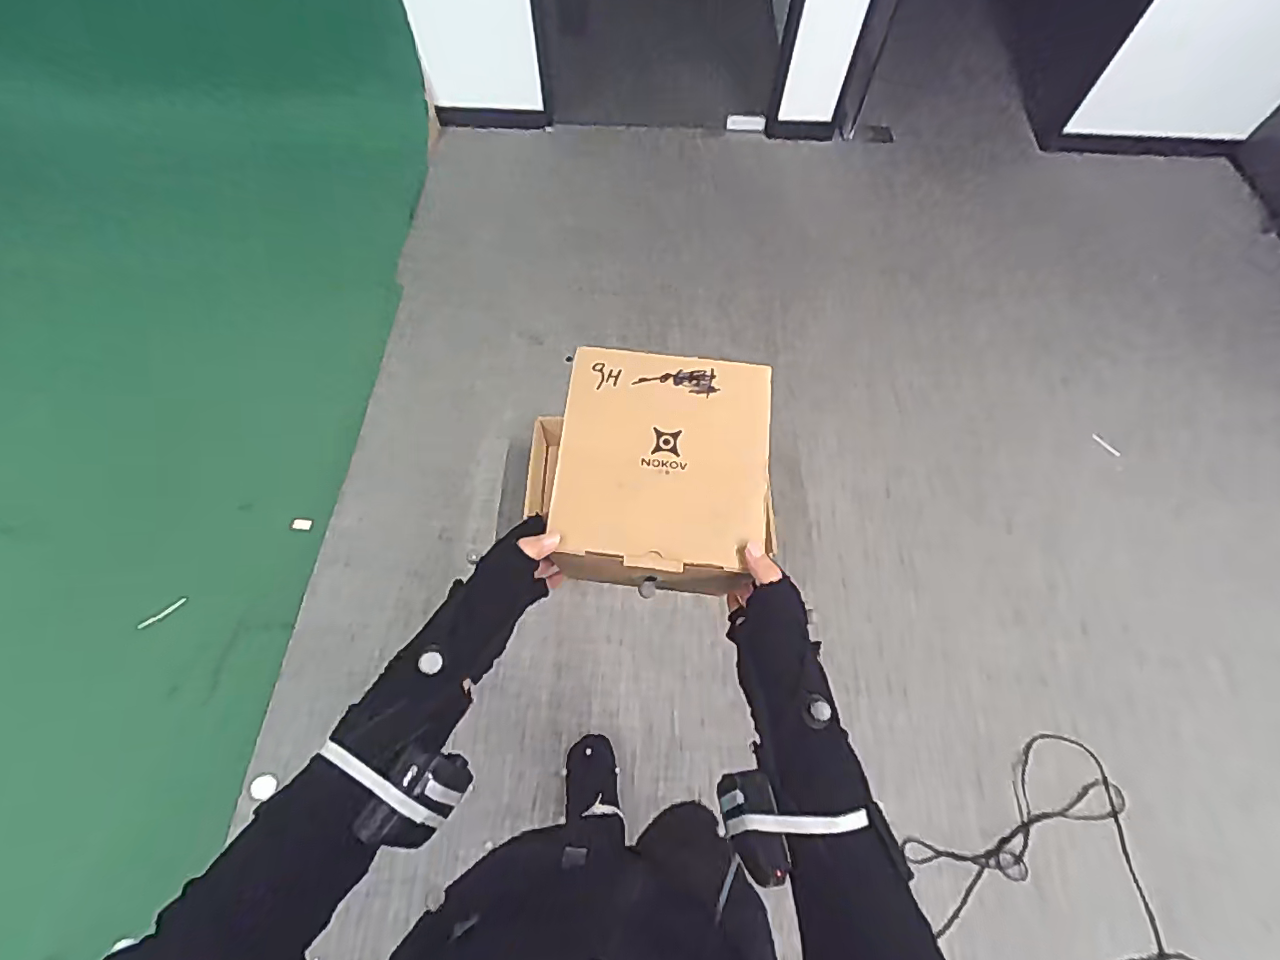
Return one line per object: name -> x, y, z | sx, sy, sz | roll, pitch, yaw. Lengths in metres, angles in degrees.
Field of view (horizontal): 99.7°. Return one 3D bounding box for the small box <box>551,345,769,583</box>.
small box -> 0.020, -0.002, 0.503 | 0.168, 0.176, 0.179 | 4, 72, 1
